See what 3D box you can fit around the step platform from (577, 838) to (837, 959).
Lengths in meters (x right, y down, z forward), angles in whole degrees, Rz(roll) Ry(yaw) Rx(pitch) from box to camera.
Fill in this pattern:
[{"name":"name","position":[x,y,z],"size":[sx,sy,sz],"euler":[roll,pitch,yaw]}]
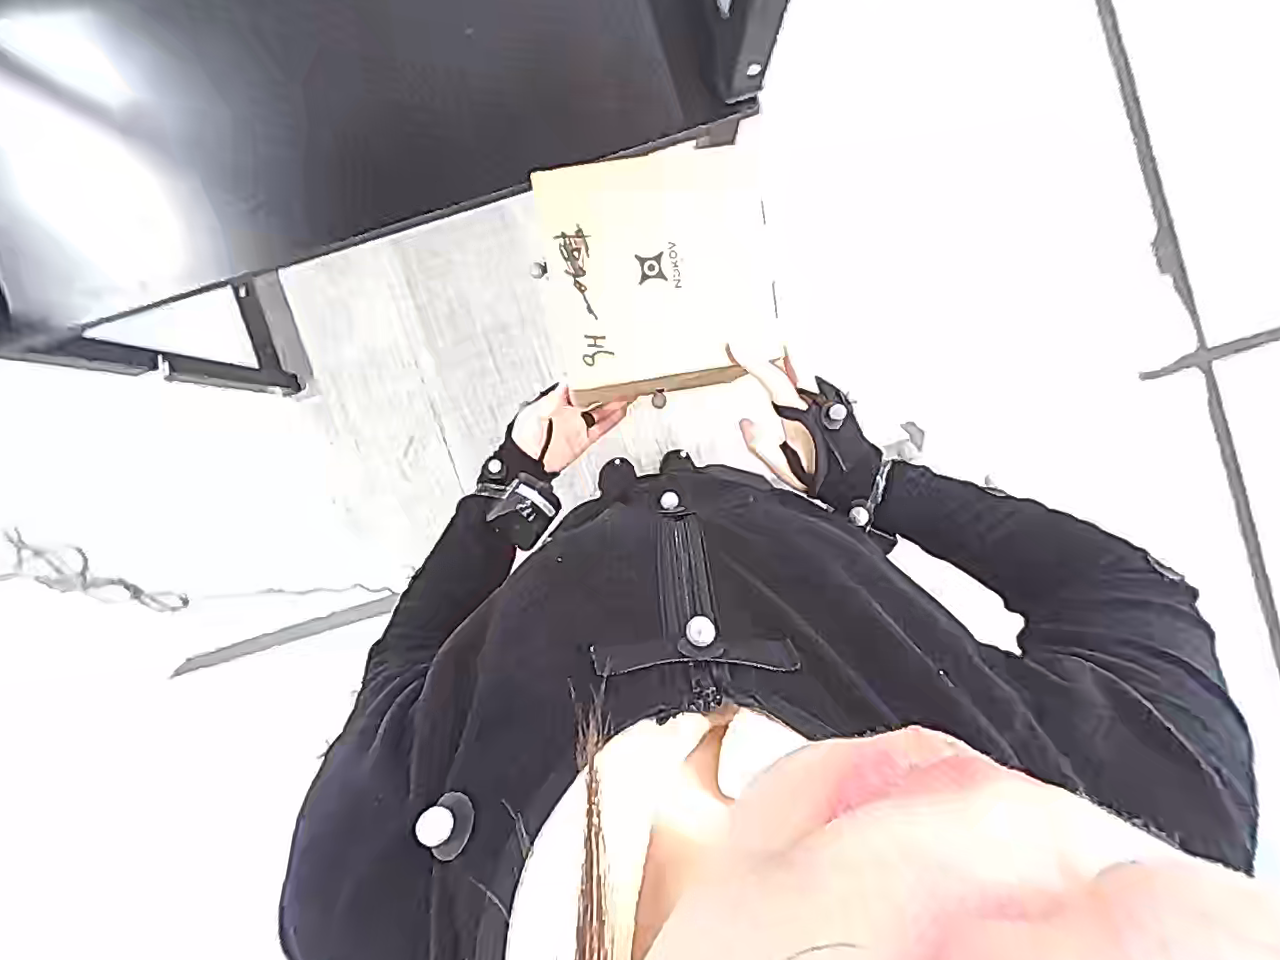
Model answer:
[{"name":"step platform","position":[0.173,1.227,1.471],"size":[0.684,0.204,0.286],"euler":[-12,93,0]}]
